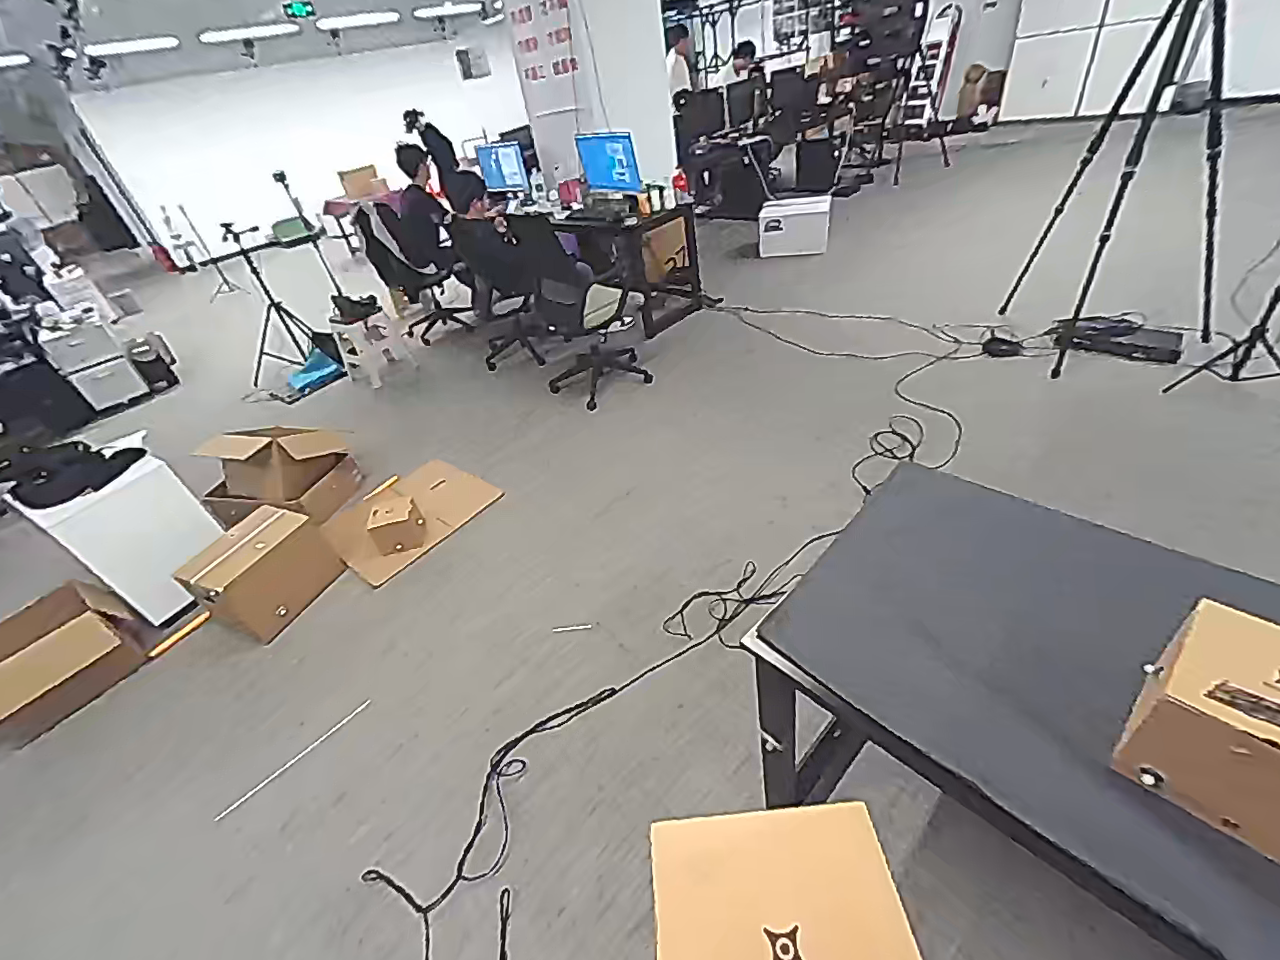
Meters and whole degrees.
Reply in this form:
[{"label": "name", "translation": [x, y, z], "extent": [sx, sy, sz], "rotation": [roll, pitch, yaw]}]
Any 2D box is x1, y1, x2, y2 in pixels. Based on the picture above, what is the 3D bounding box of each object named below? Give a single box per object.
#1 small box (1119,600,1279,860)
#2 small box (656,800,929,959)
[{"label": "small box", "translation": [0.687, 0.279, 0.610], "extent": [0.179, 0.176, 0.168], "rotation": [-34, 42, -28]}, {"label": "small box", "translation": [0.102, 0.363, 0.381], "extent": [0.168, 0.176, 0.179], "rotation": [-7, 34, 1]}]
